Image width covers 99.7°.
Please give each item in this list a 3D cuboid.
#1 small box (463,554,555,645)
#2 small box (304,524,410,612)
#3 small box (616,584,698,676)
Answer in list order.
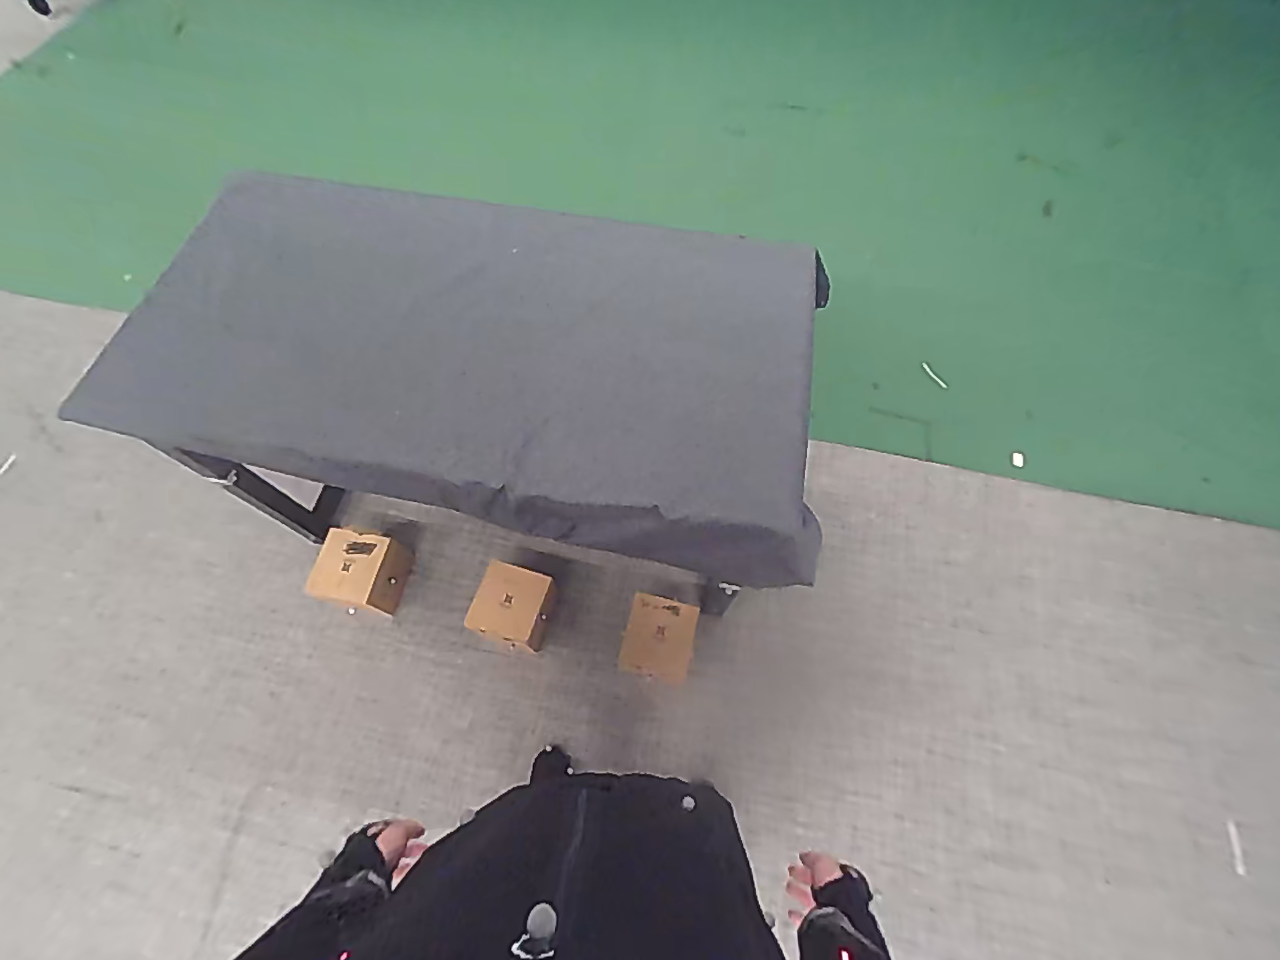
[{"bbox_3d":[-0.328,0.315,1.398,0.168,0.176,0.179,15,66,4],"label":"small box"},{"bbox_3d":[-0.733,0.235,1.425,0.168,0.176,0.179,9,67,4],"label":"small box"},{"bbox_3d":[0.044,0.386,1.371,0.168,0.176,0.179,14,66,5],"label":"small box"}]
